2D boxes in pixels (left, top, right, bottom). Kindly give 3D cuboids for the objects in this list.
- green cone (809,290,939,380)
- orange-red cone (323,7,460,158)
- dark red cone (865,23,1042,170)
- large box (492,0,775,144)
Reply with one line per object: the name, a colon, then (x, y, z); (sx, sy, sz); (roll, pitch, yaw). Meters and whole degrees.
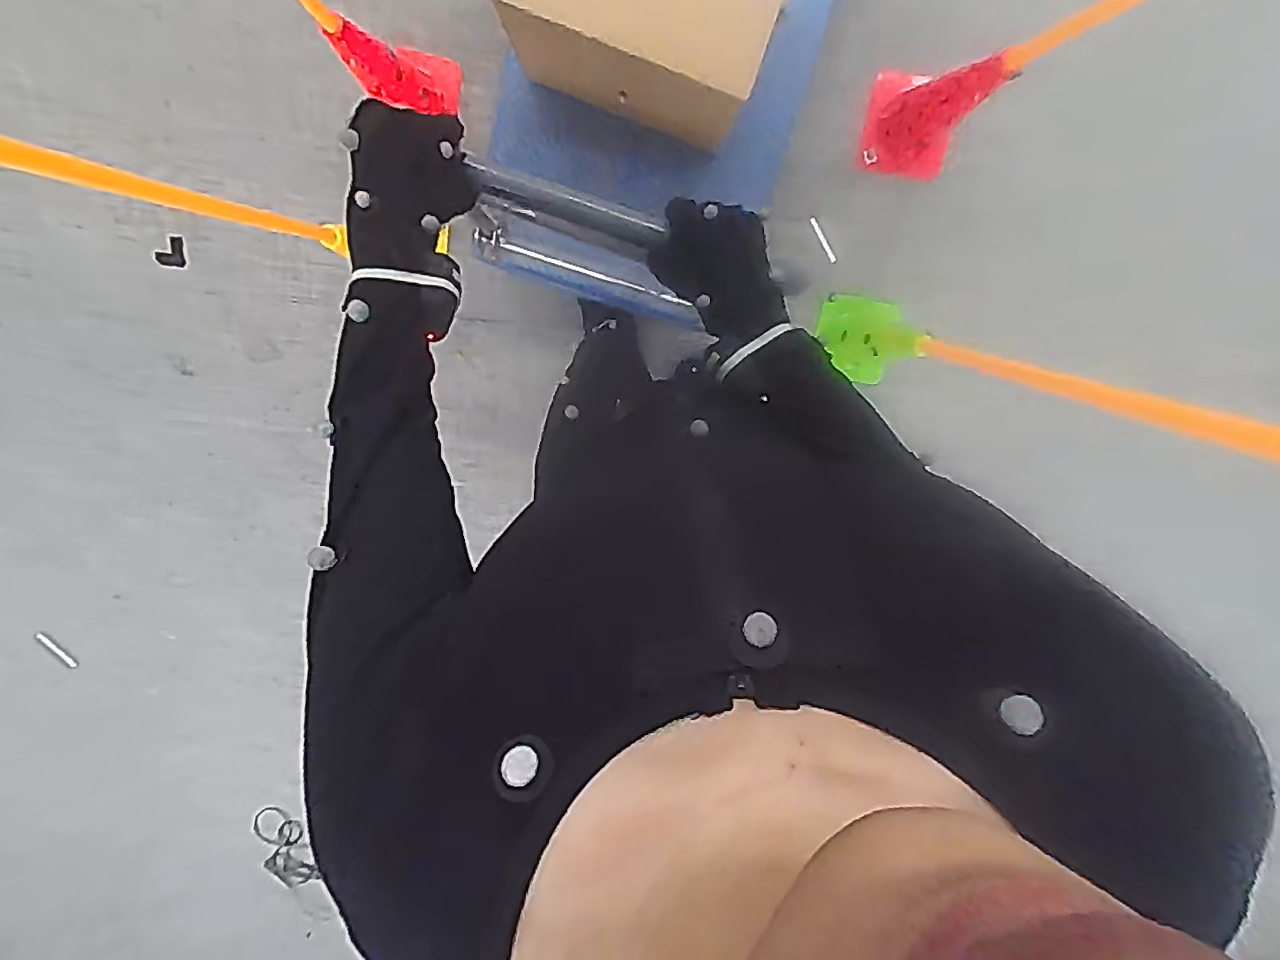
green cone: (0.549, -0.316, 1.215); (0.202, 0.368, 0.200); (9, 107, -5)
orange-red cone: (-0.510, -0.809, 1.057); (0.198, 0.360, 0.199); (13, 105, -5)
dark red cone: (0.623, -0.770, 1.059); (0.201, 0.394, 0.202); (5, 107, -4)
large box: (0.019, -0.828, 0.903); (0.408, 0.320, 0.320); (18, 107, -5)
